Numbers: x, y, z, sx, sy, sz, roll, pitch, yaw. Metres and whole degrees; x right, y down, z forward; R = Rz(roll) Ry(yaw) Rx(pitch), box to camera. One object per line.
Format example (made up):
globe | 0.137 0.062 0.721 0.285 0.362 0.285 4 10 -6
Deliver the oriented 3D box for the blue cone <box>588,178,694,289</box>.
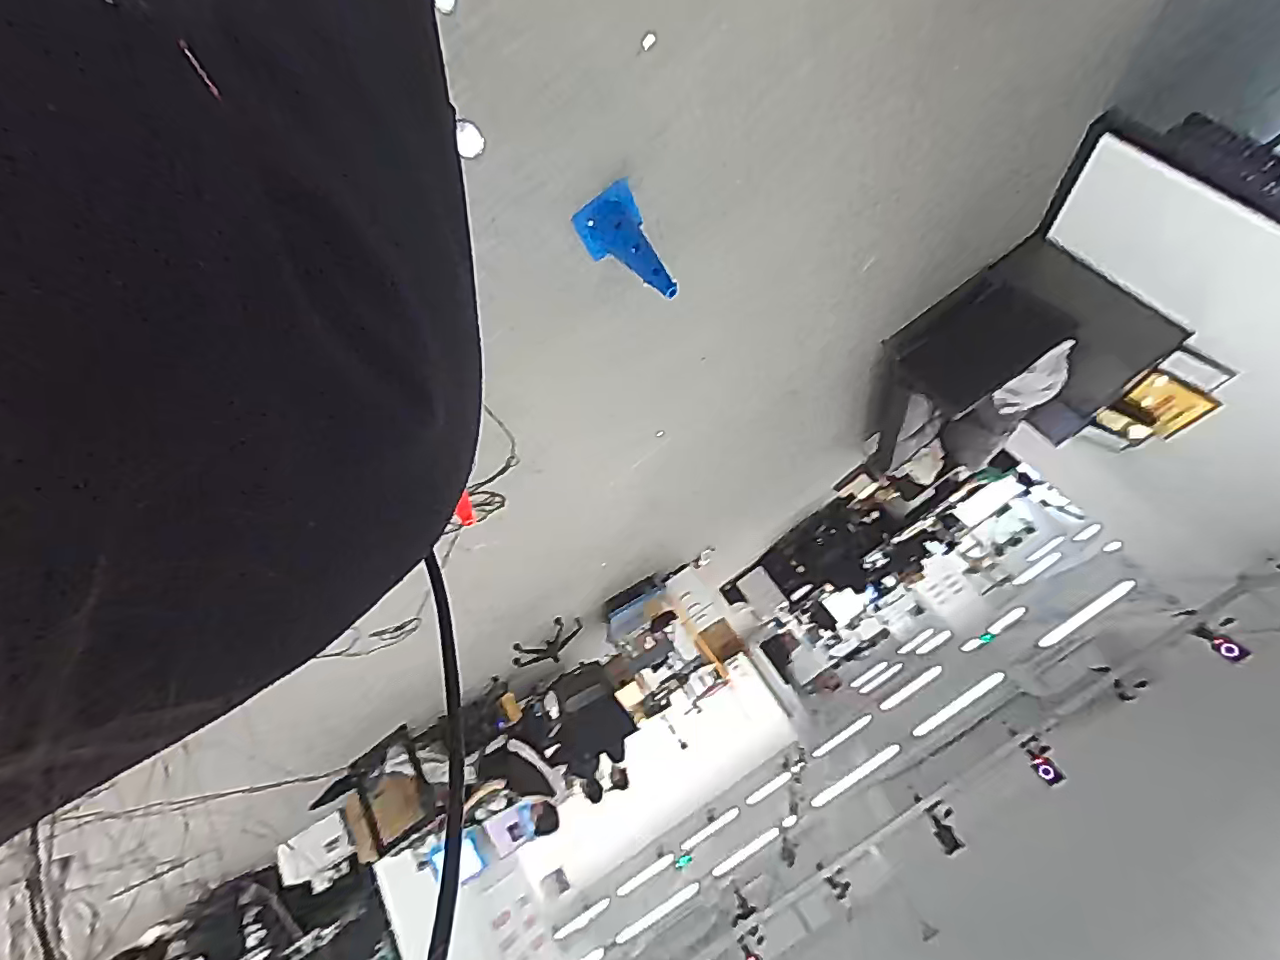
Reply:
blue cone | 0.027 -0.667 1.557 0.192 0.380 0.193 -37 155 3
